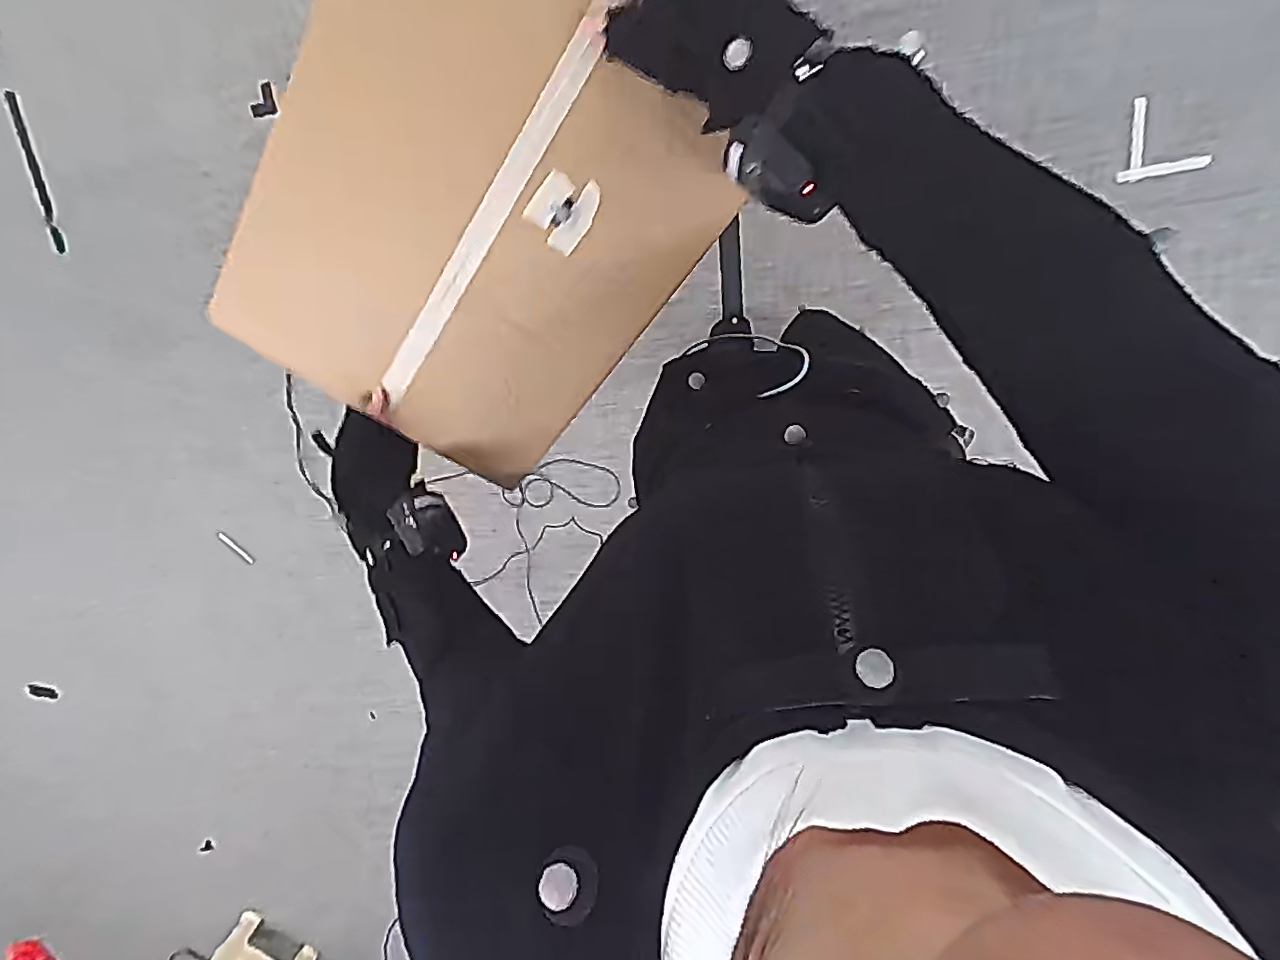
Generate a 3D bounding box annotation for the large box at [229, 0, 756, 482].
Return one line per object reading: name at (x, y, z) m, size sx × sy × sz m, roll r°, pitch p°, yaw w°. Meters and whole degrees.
large box at (-0.147, -0.284, 0.586) m, size 0.320 × 0.320 × 0.408 m, roll 30°, pitch 116°, yaw -21°
